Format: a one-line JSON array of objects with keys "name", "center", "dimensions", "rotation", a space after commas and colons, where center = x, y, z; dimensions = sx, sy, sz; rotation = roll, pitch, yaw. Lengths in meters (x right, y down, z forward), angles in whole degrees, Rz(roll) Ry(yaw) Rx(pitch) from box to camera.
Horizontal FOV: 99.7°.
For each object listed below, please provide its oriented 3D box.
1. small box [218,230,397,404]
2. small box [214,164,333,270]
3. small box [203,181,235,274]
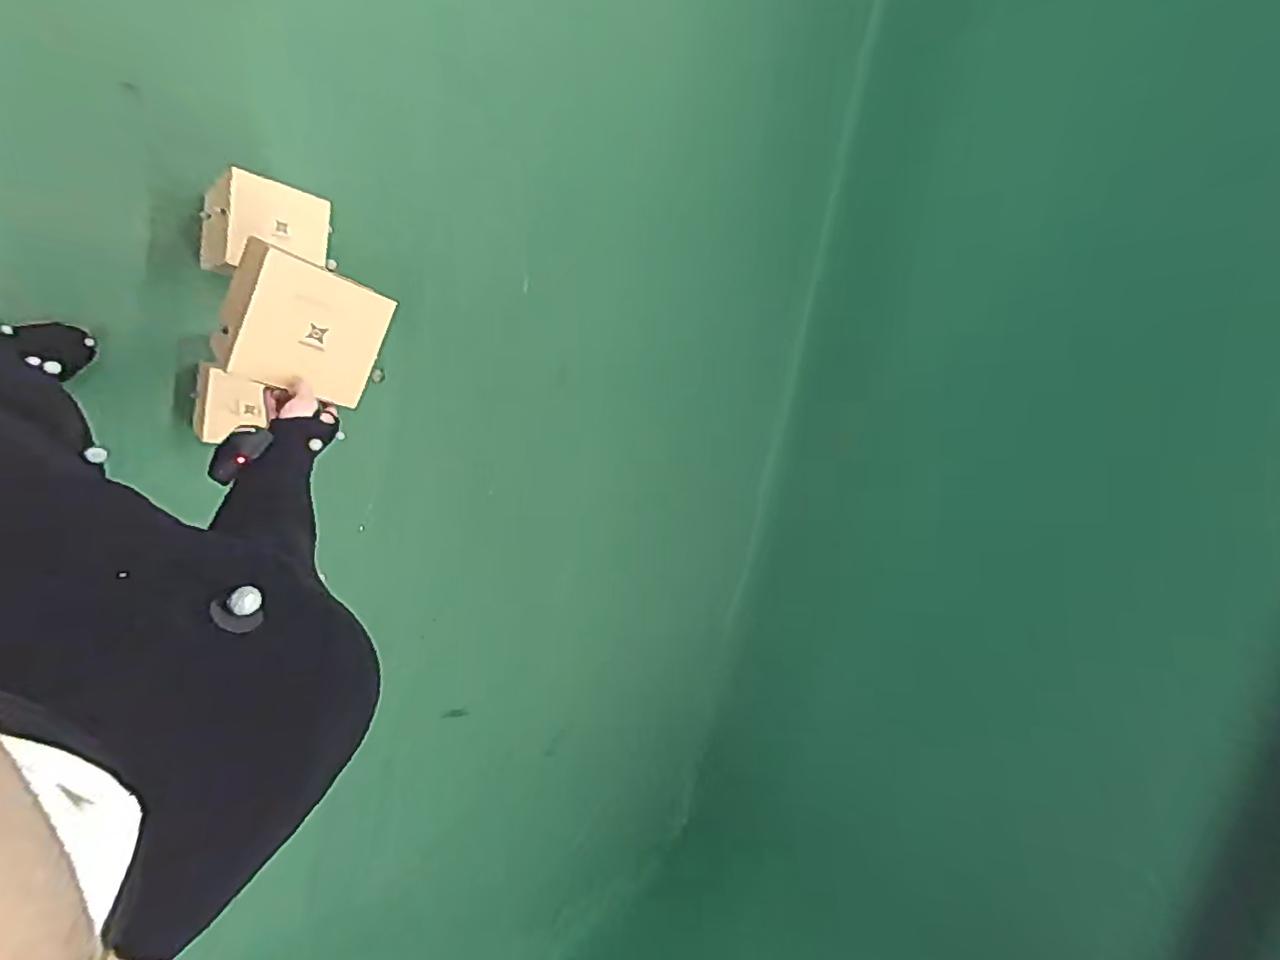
[{"name": "small box", "center": [-0.489, -0.237, 0.789], "dimensions": [0.168, 0.176, 0.179], "rotation": [17, 102, -48]}, {"name": "small box", "center": [-0.752, -0.509, 1.106], "dimensions": [0.168, 0.176, 0.179], "rotation": [3, 102, -46]}, {"name": "small box", "center": [-0.864, -0.544, 1.221], "dimensions": [0.179, 0.176, 0.168], "rotation": [2, 102, -47]}]
